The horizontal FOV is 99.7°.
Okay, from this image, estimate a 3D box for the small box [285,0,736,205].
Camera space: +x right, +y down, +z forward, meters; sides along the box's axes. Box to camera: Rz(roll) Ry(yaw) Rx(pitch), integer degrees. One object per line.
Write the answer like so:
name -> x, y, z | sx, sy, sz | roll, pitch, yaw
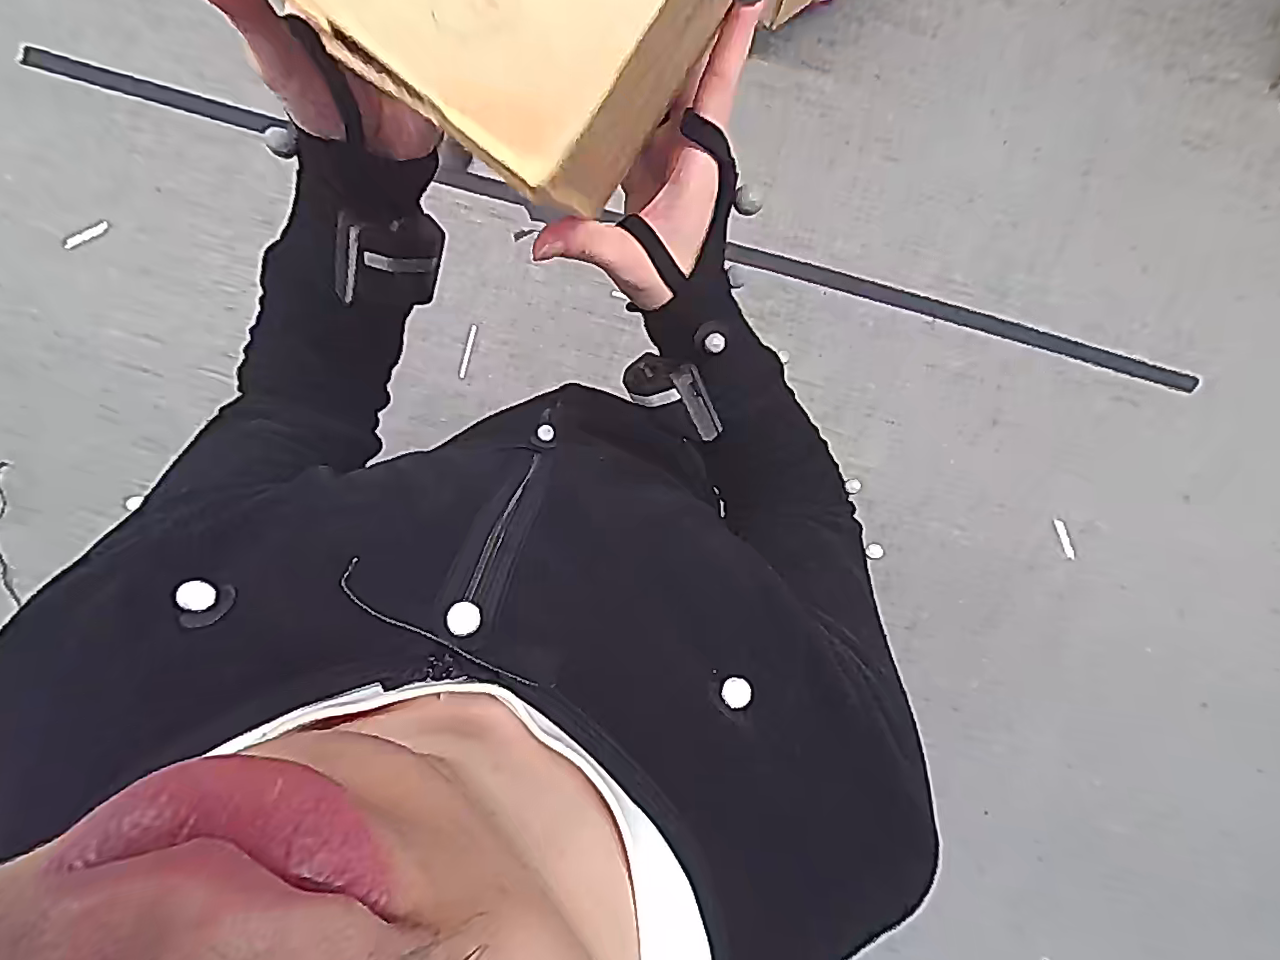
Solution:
small box -> -0.039, -0.219, 0.181 | 0.168, 0.176, 0.179 | 34, 110, -14
